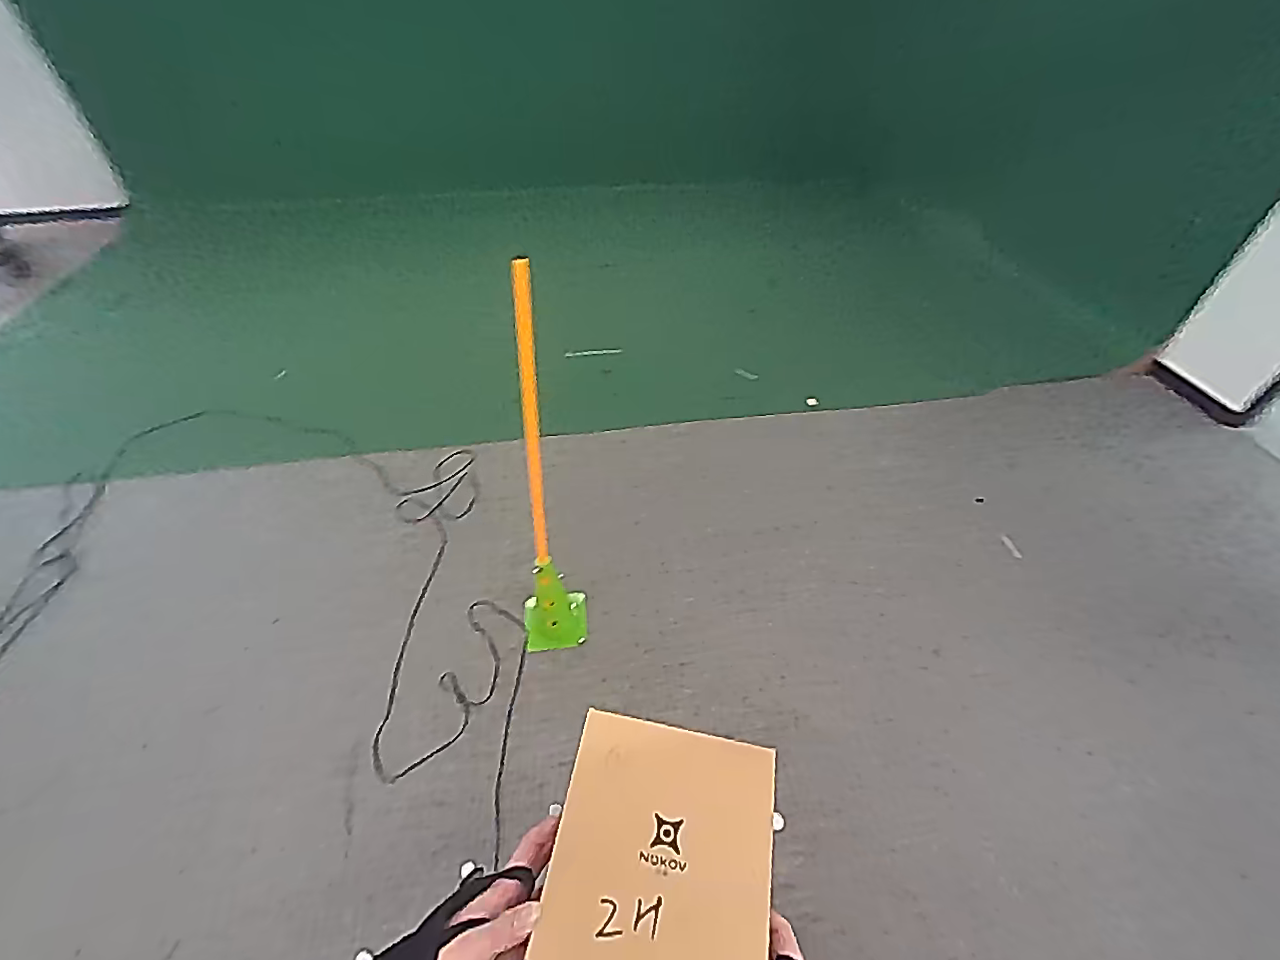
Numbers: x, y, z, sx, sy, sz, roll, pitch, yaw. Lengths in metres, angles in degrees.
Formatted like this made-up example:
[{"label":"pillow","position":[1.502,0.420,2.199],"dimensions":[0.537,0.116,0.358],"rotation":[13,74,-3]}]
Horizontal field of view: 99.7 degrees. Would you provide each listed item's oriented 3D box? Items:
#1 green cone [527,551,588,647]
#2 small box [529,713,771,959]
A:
[{"label":"green cone","position":[-0.280,0.339,1.692],"dimensions":[0.202,0.368,0.200],"rotation":[-5,46,-4]},{"label":"small box","position":[0.013,0.338,0.483],"dimensions":[0.168,0.176,0.179],"rotation":[10,51,6]}]
